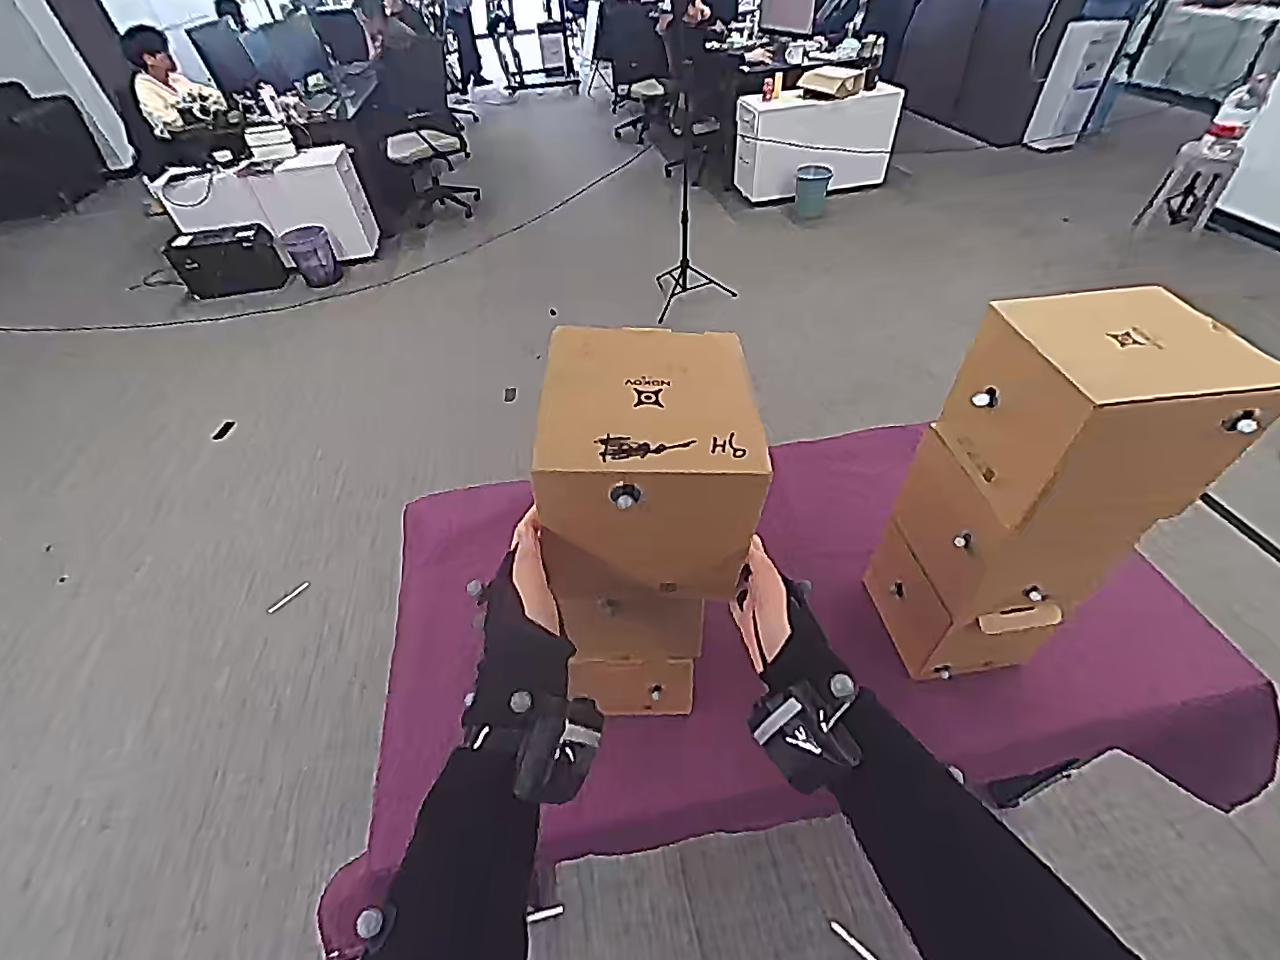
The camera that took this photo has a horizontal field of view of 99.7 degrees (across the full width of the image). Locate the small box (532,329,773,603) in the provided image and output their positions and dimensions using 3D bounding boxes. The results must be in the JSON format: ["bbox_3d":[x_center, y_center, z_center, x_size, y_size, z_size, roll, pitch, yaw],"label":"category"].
[{"bbox_3d":[0.004,-0.012,0.476,0.168,0.176,0.179,0,47,-2],"label":"small box"}]

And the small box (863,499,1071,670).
[{"bbox_3d":[0.446,0.155,0.775,0.168,0.176,0.179,-8,45,-3],"label":"small box"}]

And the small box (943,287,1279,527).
[{"bbox_3d":[0.433,-0.068,0.537,0.179,0.176,0.168,-6,46,-2],"label":"small box"}]

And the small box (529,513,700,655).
[{"bbox_3d":[-0.018,0.097,0.644,0.179,0.176,0.168,-1,47,3],"label":"small box"}]

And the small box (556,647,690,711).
[{"bbox_3d":[-0.015,0.212,0.761,0.168,0.176,0.179,-2,46,2],"label":"small box"}]
